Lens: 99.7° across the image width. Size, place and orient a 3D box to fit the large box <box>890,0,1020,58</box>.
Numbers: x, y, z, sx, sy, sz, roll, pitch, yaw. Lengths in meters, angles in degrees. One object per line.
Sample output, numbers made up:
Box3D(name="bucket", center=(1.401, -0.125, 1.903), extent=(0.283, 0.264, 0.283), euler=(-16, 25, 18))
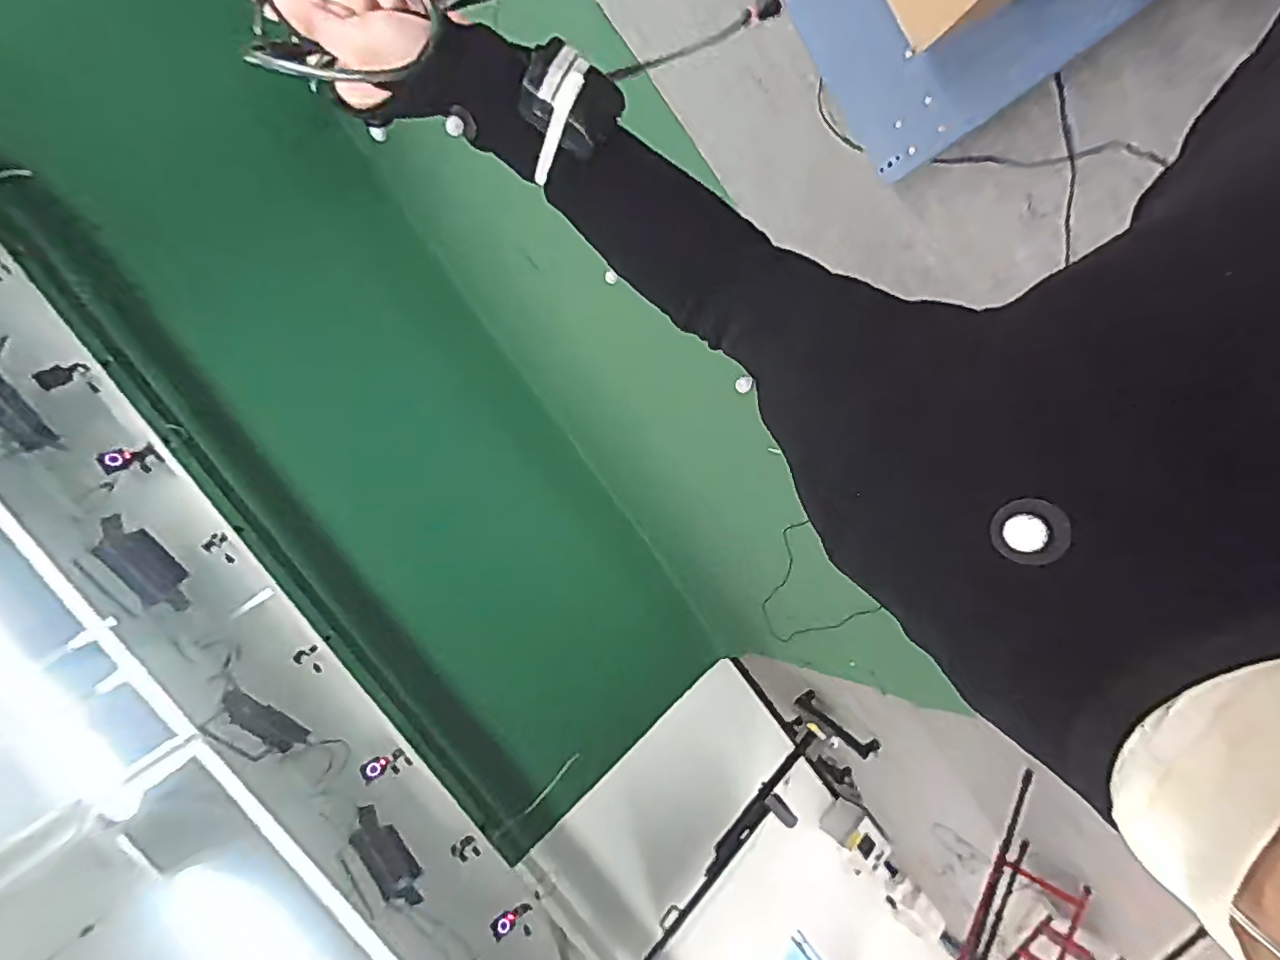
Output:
Box3D(name="large box", center=(0.589, -0.960, 0.787), extent=(0.320, 0.320, 0.408), euler=(56, 159, -8))
